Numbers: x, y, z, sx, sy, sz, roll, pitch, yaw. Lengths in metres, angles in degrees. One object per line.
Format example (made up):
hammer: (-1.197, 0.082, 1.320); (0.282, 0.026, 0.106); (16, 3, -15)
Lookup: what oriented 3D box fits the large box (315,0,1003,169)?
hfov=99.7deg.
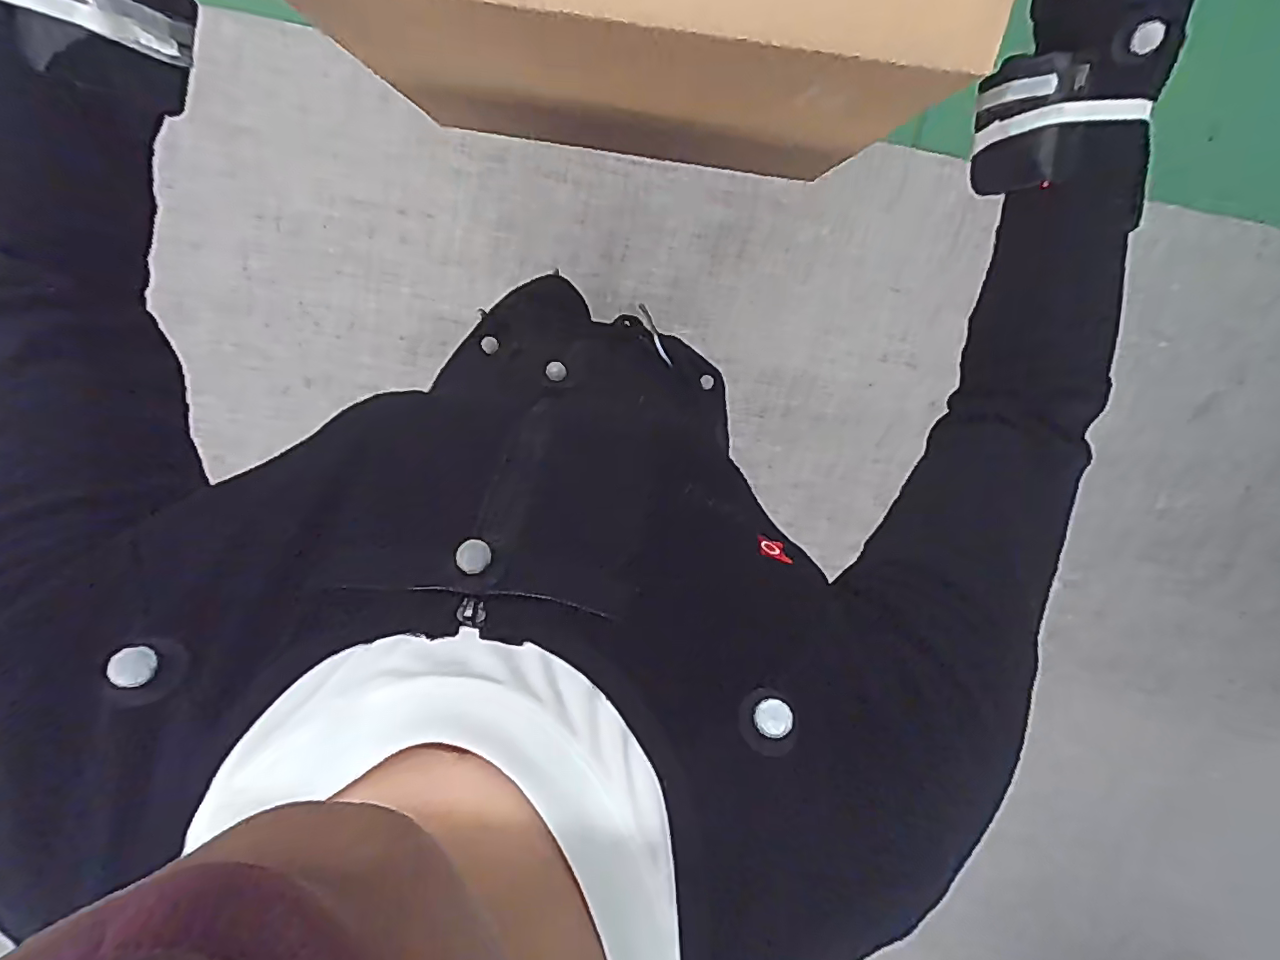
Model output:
large box: (0.012, -0.445, 0.386); (0.408, 0.320, 0.320); (6, 110, -2)
